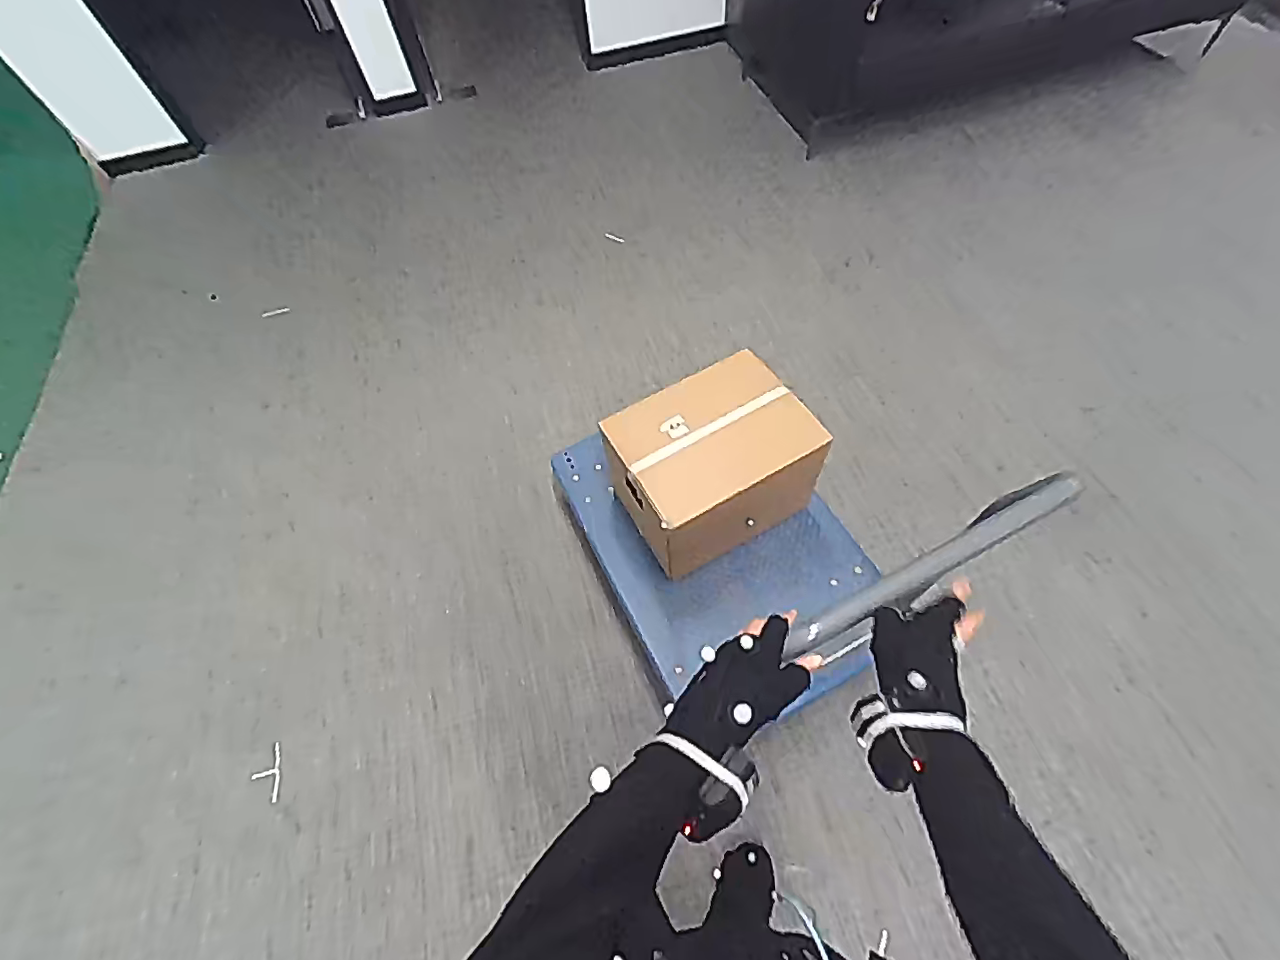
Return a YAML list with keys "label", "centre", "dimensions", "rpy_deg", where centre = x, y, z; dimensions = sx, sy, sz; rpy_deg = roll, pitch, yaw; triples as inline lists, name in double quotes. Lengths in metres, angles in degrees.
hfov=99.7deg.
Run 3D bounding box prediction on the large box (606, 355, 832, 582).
- label: "large box"
  centre: [0.179, -0.021, 1.303]
  dimensions: [0.408, 0.320, 0.320]
  rpy_deg: [-29, 61, -11]
